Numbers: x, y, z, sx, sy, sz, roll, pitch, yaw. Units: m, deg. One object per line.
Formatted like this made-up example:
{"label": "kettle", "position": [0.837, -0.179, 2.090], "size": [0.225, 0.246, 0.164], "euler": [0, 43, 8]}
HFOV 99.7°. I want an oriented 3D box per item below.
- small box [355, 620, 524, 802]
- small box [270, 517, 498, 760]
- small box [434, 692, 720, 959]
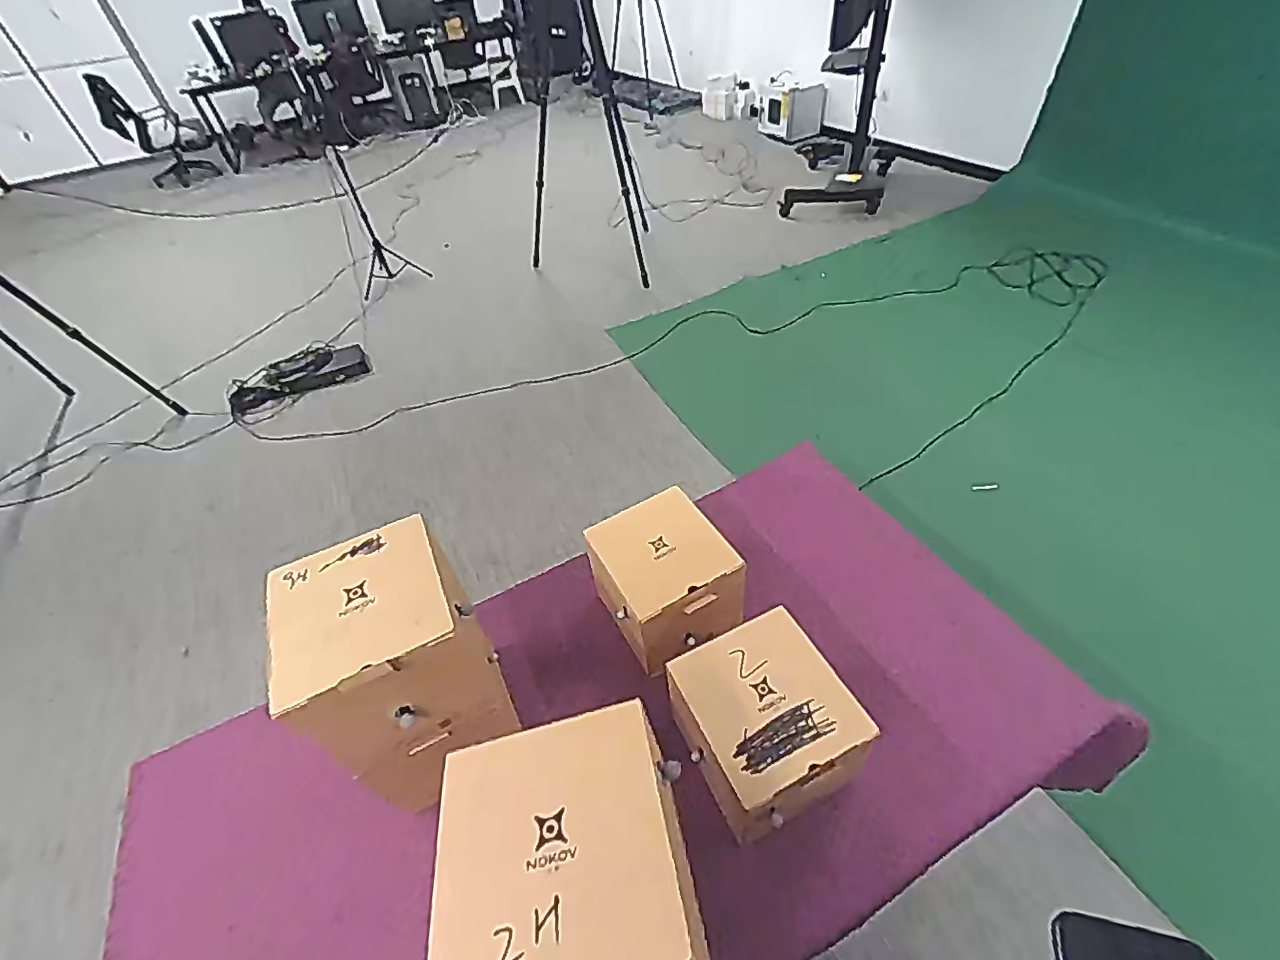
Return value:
{"label": "small box", "position": [-0.263, 0.294, 0.715], "size": [0.168, 0.176, 0.179], "euler": [-24, 48, -15]}
{"label": "small box", "position": [-0.273, 0.180, 0.597], "size": [0.168, 0.176, 0.179], "euler": [-23, 48, -16]}
{"label": "small box", "position": [-0.042, 0.306, 0.427], "size": [0.168, 0.176, 0.179], "euler": [-16, 40, 0]}
